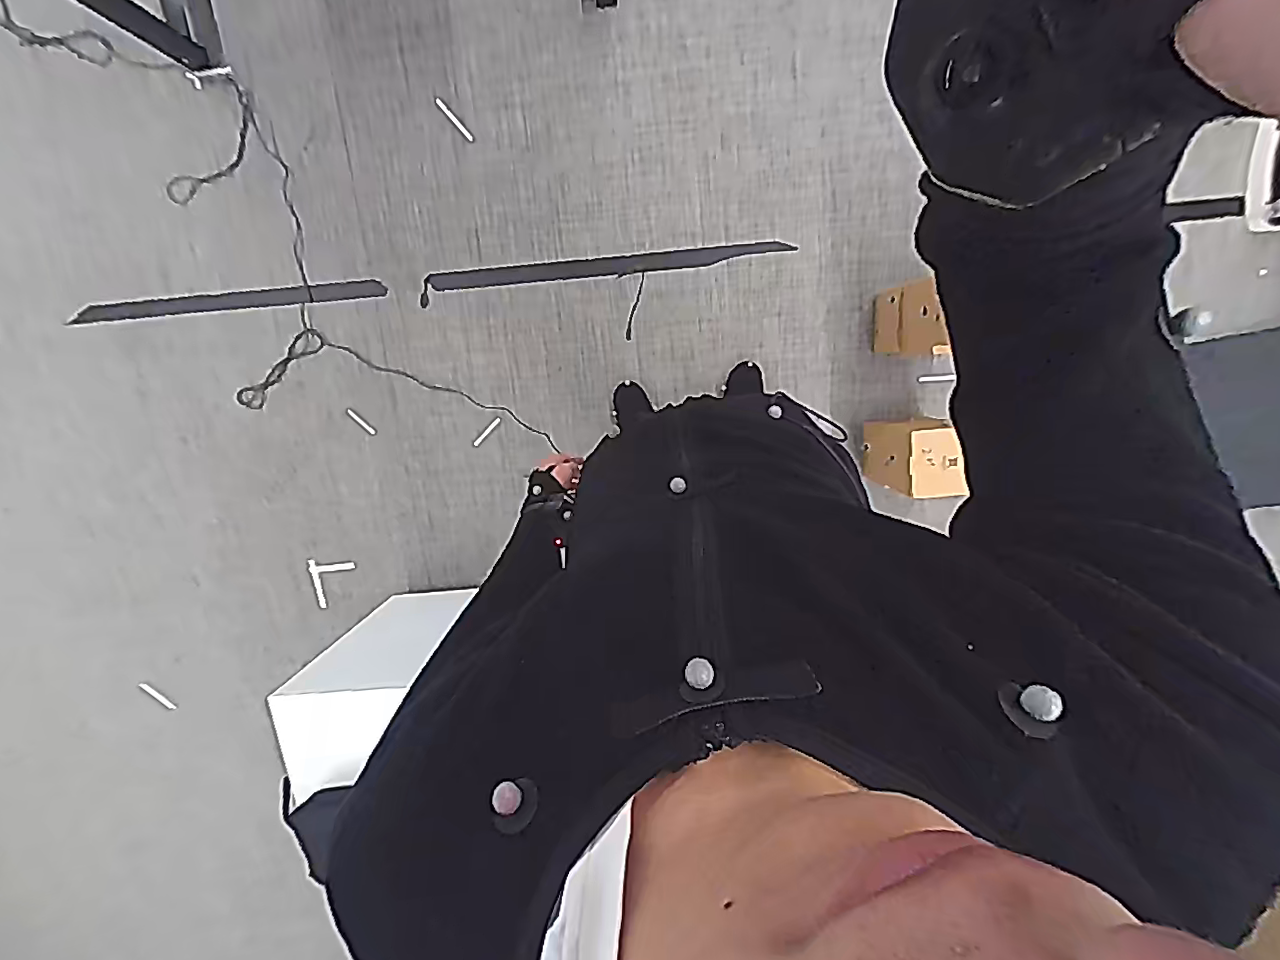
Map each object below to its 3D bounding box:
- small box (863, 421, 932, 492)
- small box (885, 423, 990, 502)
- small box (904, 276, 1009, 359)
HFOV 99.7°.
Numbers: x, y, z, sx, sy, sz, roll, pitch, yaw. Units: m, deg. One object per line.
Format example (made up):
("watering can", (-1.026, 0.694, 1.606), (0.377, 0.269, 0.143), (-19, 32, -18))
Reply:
("small box", (0.739, -0.069, 1.505), (0.179, 0.176, 0.168), (-6, 100, 6))
("small box", (0.730, -0.048, 1.341), (0.179, 0.176, 0.168), (-5, 100, 5))
("small box", (0.736, -0.381, 1.268), (0.168, 0.176, 0.179), (-4, 103, 4))
